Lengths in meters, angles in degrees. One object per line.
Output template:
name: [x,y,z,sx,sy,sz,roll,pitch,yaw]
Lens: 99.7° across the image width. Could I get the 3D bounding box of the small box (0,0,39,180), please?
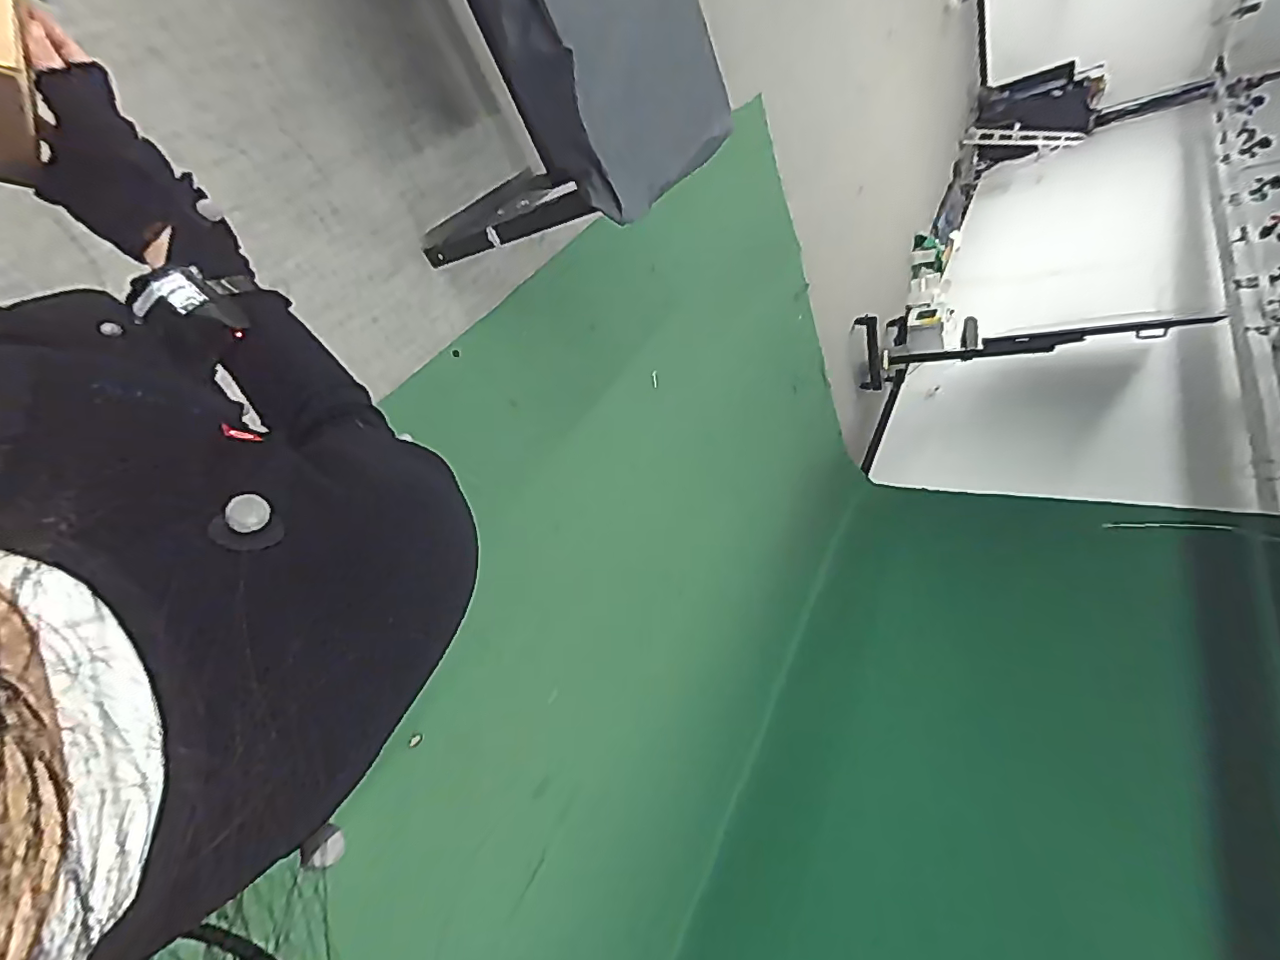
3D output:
small box: [-0.474,-0.311,0.308,0.168,0.176,0.179,-6,95,-45]
